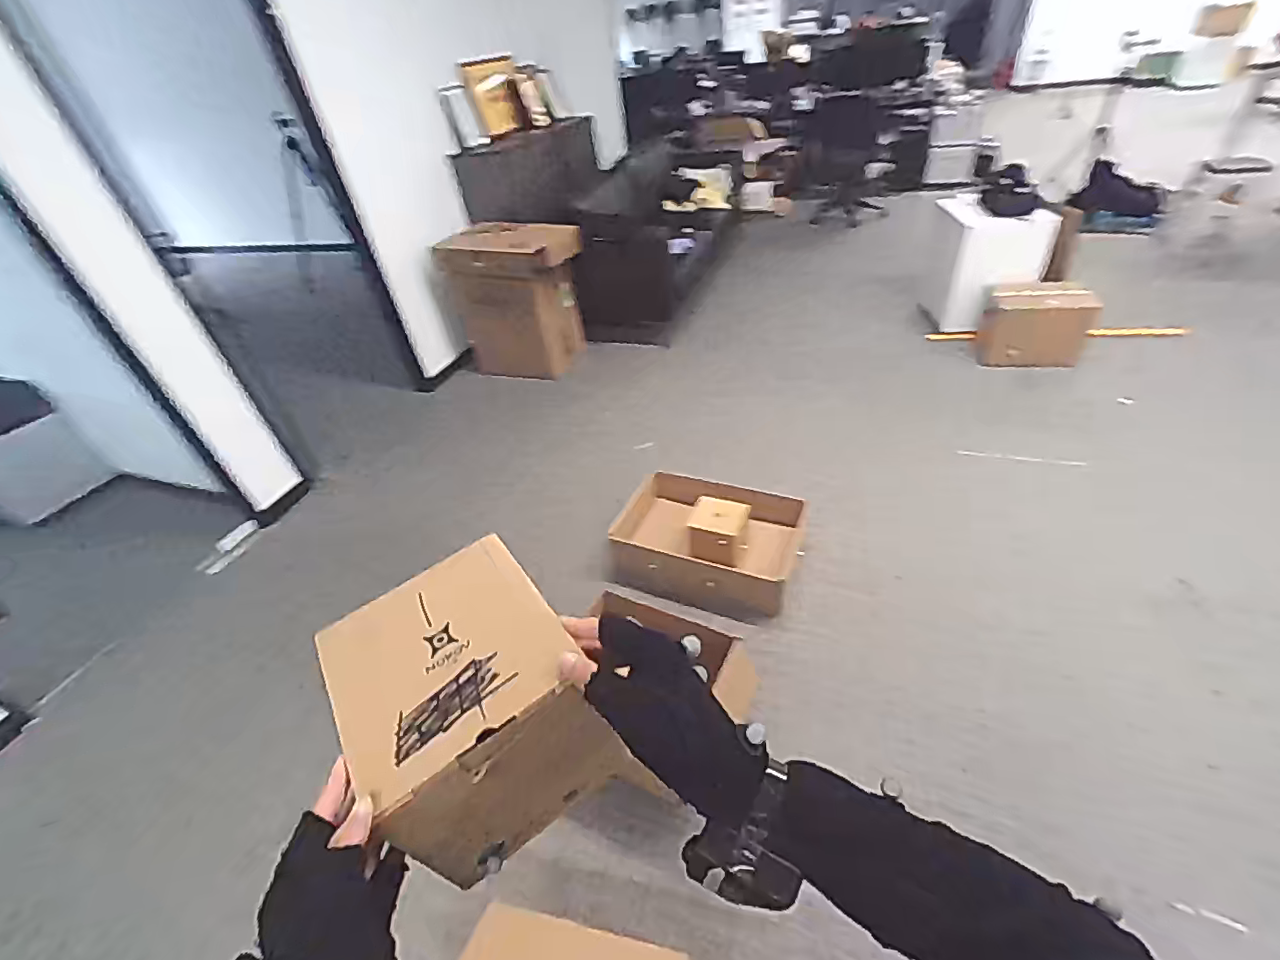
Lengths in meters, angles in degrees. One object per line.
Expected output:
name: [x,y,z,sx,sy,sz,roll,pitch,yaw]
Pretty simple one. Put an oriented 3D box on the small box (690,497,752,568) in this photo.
small box: [0.289,0.188,1.903,0.179,0.176,0.168,11,42,24]
